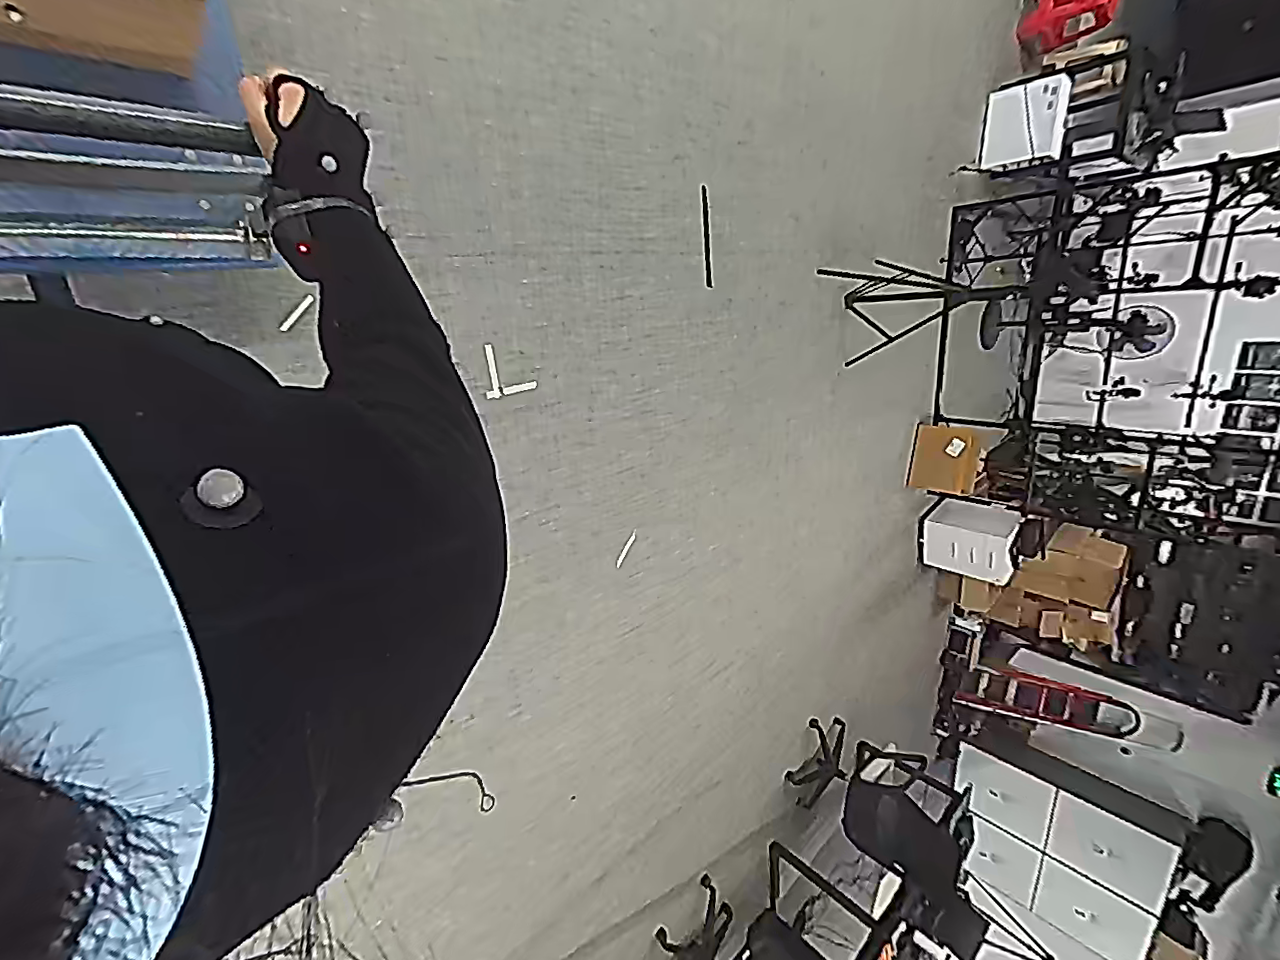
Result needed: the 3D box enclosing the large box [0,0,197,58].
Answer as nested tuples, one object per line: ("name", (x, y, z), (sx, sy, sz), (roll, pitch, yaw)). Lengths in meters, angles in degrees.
("large box", (-0.849, -0.795, 0.670), (0.408, 0.320, 0.320), (-18, 112, -38))
